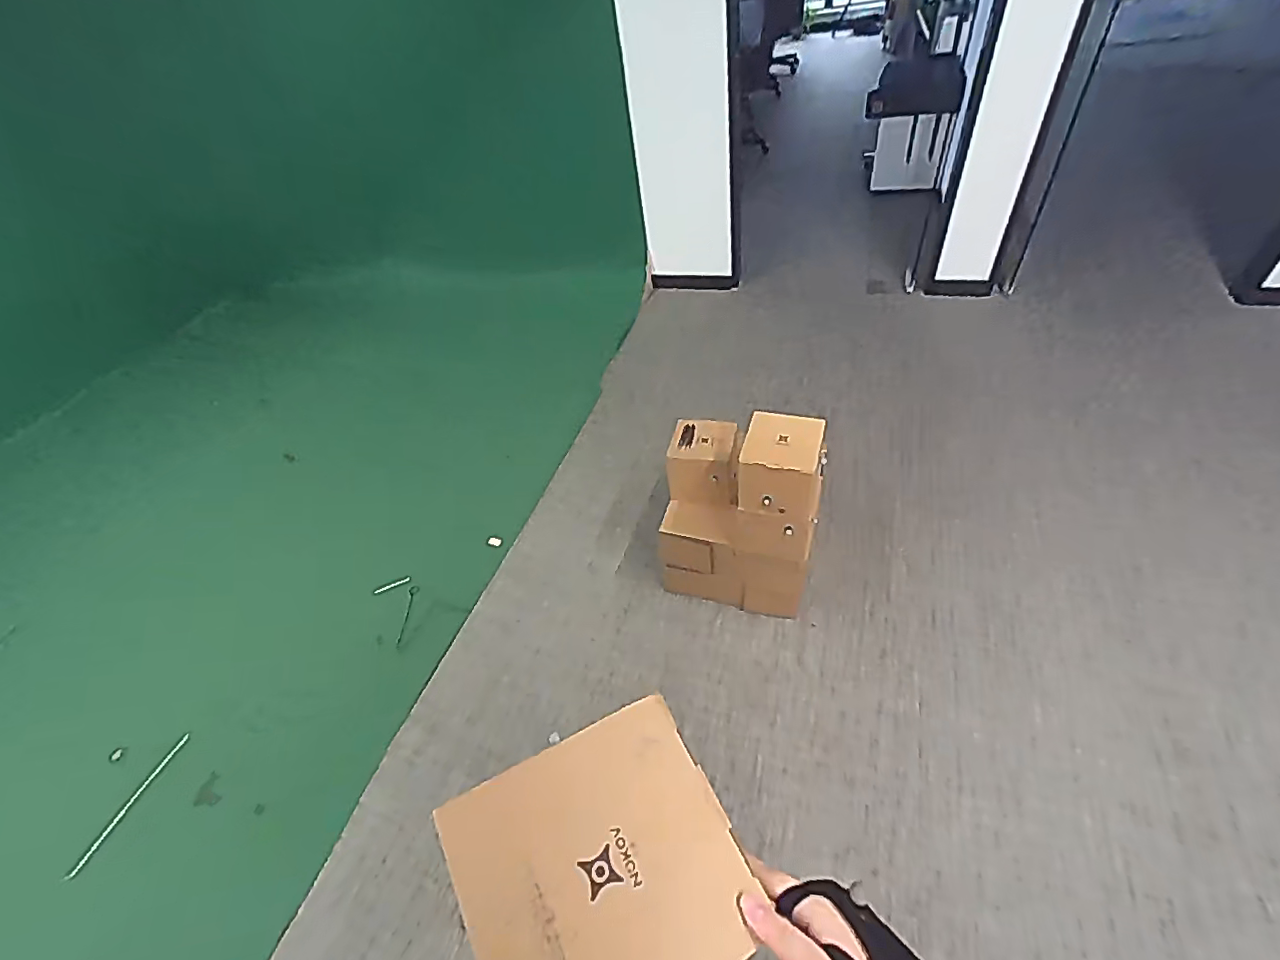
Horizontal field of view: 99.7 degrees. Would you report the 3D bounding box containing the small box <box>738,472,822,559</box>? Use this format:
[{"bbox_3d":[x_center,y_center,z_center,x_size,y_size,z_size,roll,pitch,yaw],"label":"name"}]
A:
[{"bbox_3d":[0.355,0.080,1.379,0.179,0.176,0.168,10,49,19],"label":"small box"}]

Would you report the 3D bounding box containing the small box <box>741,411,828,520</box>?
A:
[{"bbox_3d":[0.334,-0.034,1.265,0.168,0.176,0.179,10,50,19],"label":"small box"}]

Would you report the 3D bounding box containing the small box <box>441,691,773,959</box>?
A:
[{"bbox_3d":[-0.035,0.296,0.418,0.179,0.176,0.168,-19,58,-21],"label":"small box"}]
